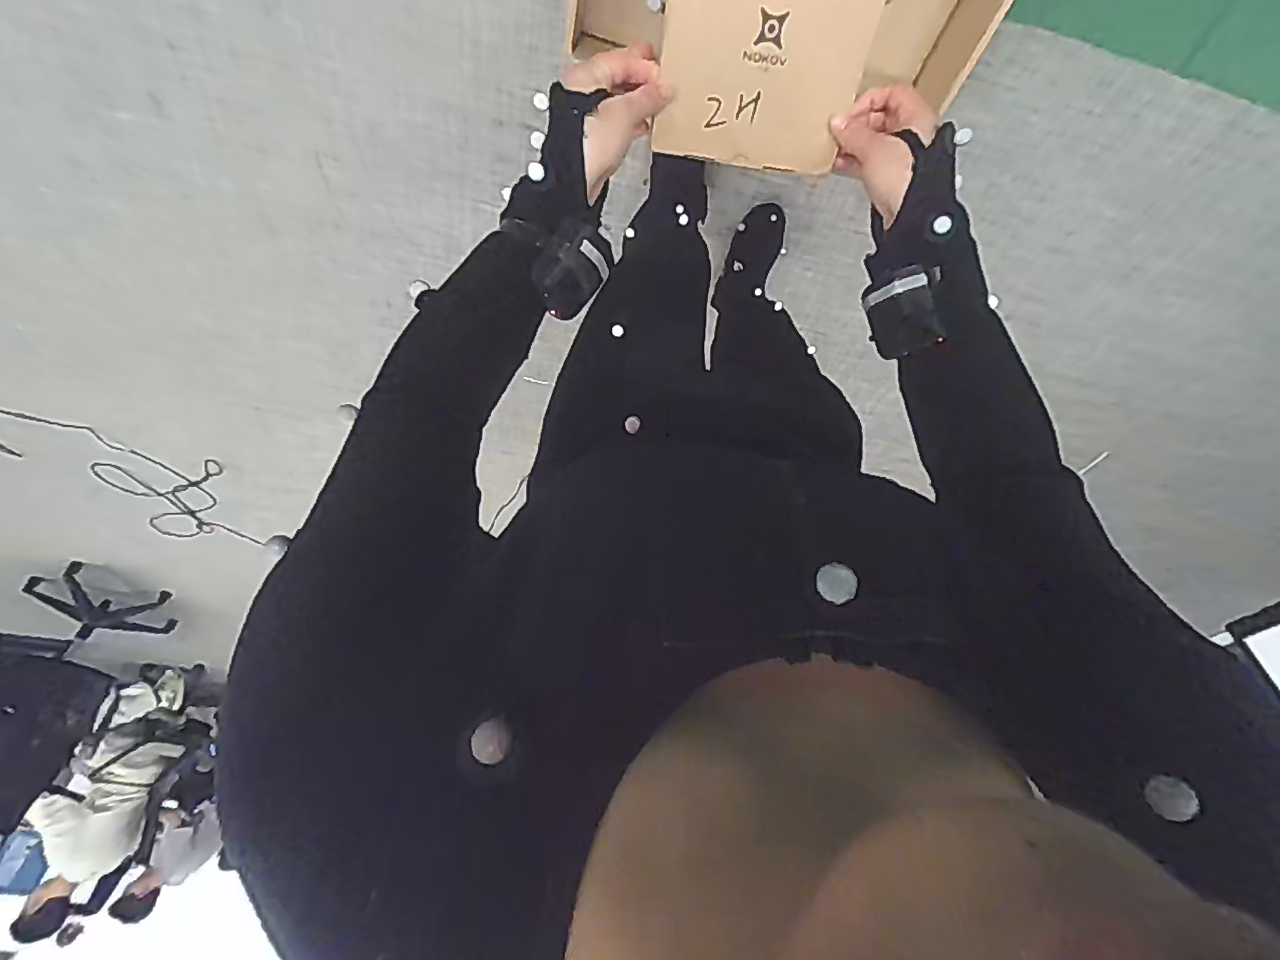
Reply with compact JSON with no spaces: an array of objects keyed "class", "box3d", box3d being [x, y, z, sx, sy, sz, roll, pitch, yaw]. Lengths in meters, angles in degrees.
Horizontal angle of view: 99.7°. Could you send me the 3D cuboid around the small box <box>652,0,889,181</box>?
[{"class":"small box","box3d":[0.105,-0.396,0.486,0.168,0.176,0.179,8,131,-3]}]
